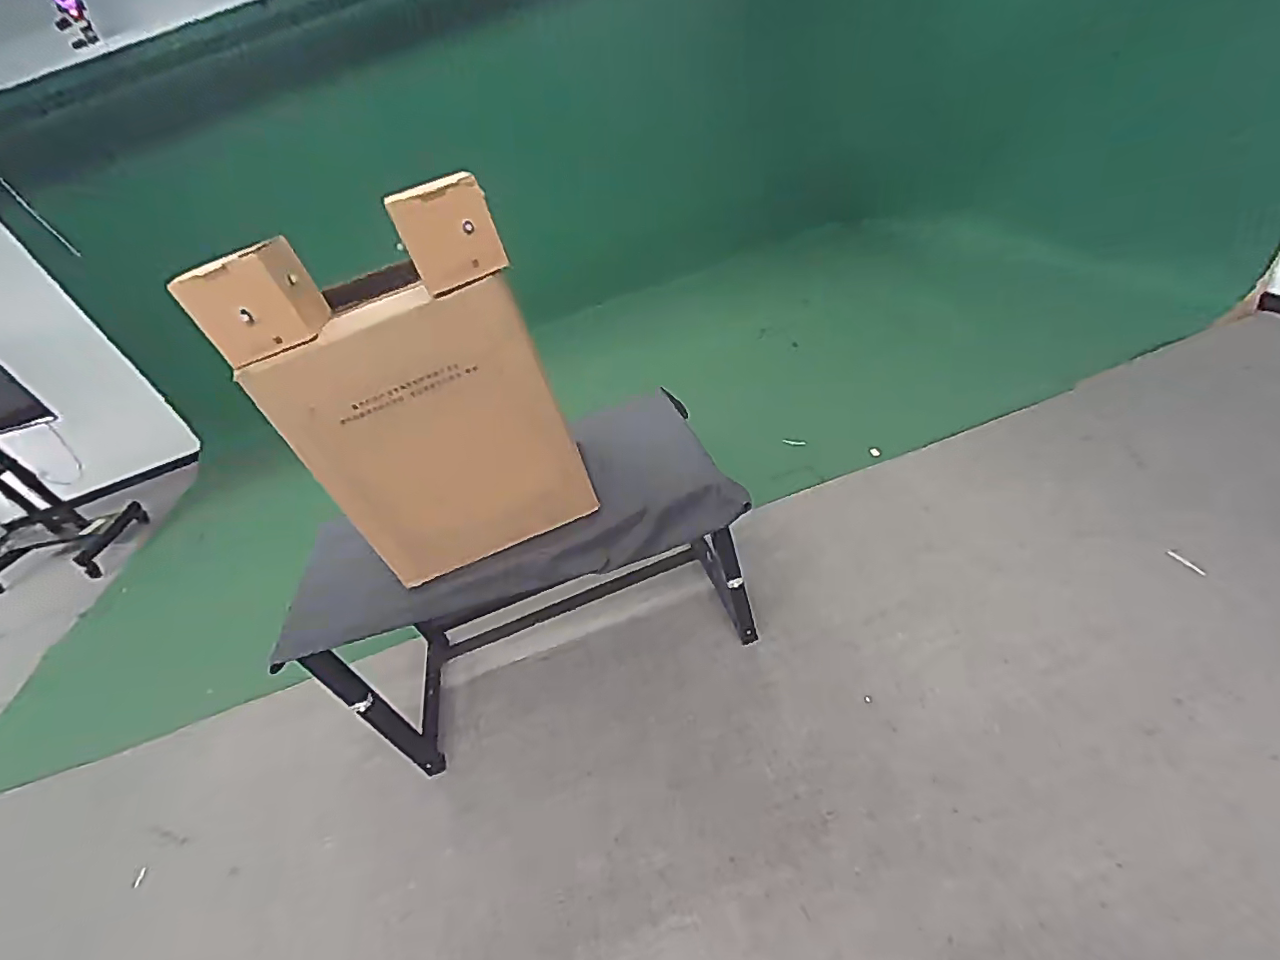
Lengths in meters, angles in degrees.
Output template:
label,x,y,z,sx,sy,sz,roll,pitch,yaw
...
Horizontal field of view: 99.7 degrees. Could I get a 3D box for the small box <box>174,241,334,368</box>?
label,x,y,z,sx,sy,sz,roll,pitch,yaw
small box,-0.735,-0.340,1.057,0.168,0.176,0.179,-22,36,-2

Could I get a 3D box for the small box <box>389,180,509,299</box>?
label,x,y,z,sx,sy,sz,roll,pitch,yaw
small box,-0.374,-0.474,1.069,0.168,0.176,0.179,-24,35,-11
